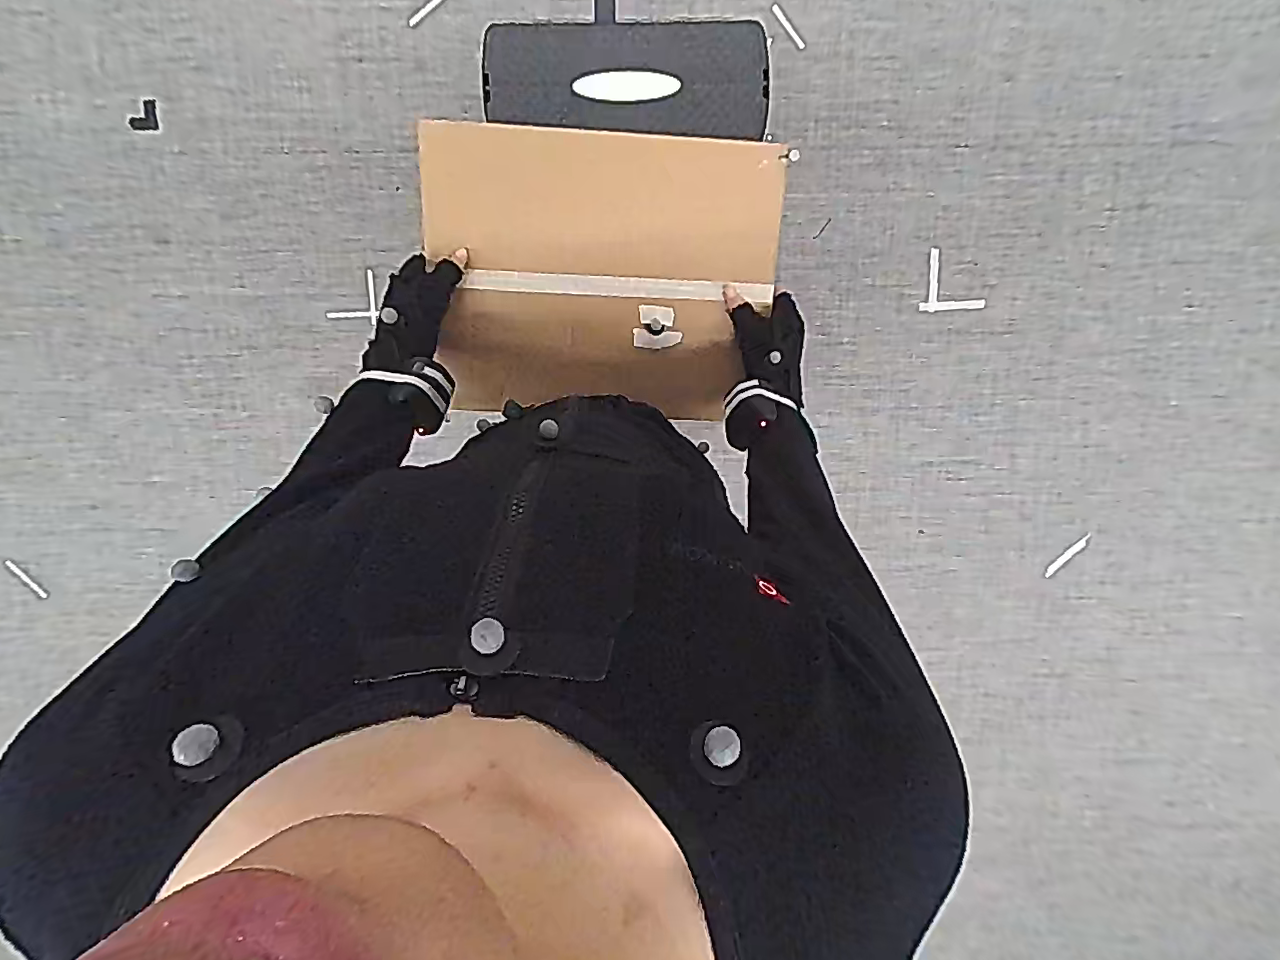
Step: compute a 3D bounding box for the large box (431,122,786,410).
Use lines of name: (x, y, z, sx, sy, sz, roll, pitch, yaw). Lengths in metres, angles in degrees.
large box: (-0.044, -0.285, 0.786, 0.408, 0.320, 0.320, 2, 108, -3)
